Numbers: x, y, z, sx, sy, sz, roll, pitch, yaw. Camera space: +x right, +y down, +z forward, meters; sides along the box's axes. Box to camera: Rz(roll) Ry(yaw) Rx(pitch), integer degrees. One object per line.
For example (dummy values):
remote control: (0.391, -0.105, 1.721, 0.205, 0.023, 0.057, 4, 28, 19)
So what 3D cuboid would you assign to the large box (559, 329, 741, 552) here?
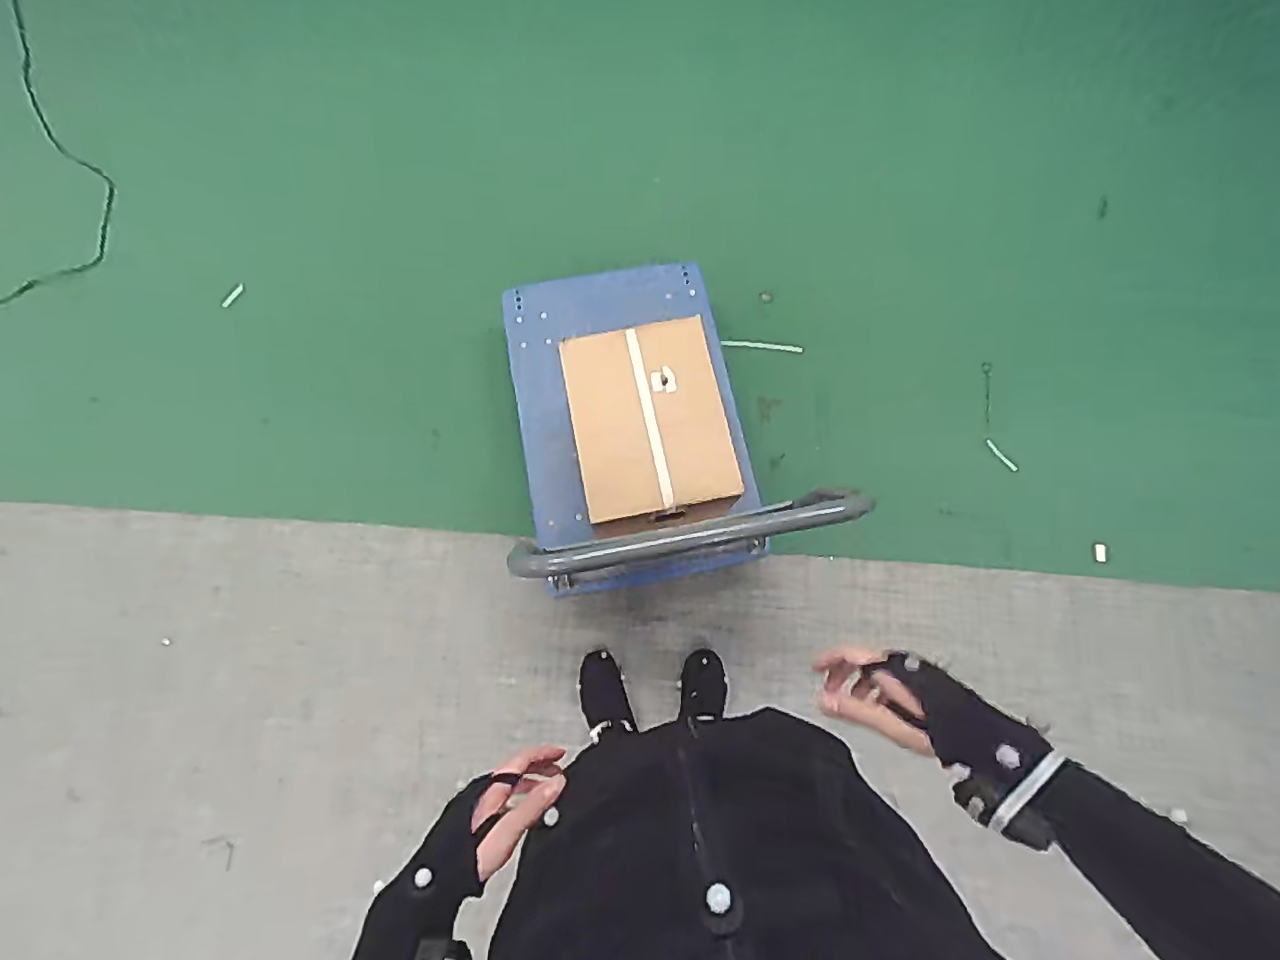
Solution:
large box: (0.014, -0.076, 1.266, 0.320, 0.320, 0.408, -11, 74, -4)
